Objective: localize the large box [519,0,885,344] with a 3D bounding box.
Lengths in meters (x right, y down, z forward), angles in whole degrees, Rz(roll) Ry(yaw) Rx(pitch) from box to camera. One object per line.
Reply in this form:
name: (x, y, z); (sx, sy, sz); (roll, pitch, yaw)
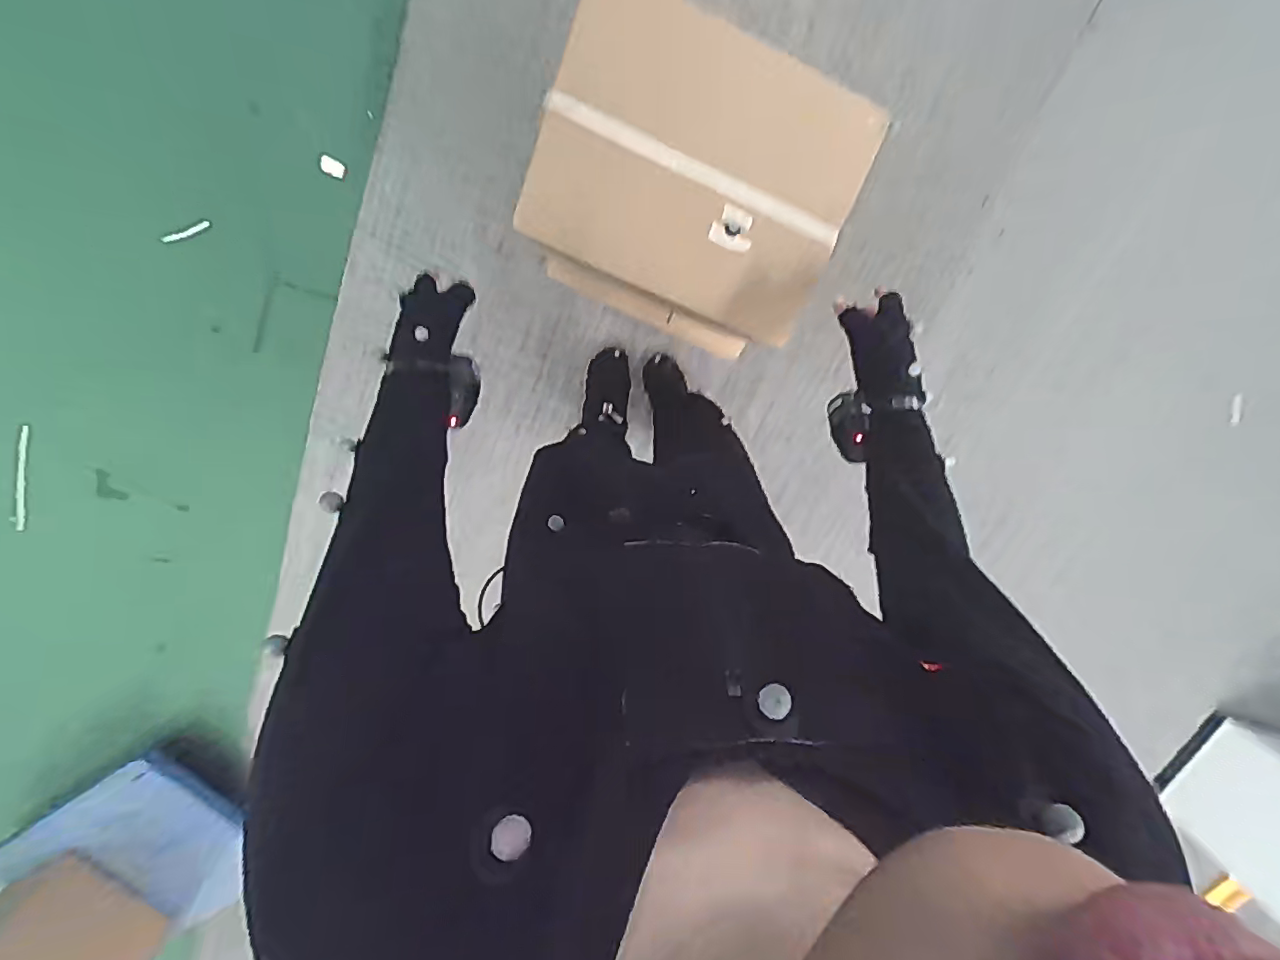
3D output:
large box: (0.065, -0.435, 0.839); (0.408, 0.320, 0.320); (21, 104, -11)
